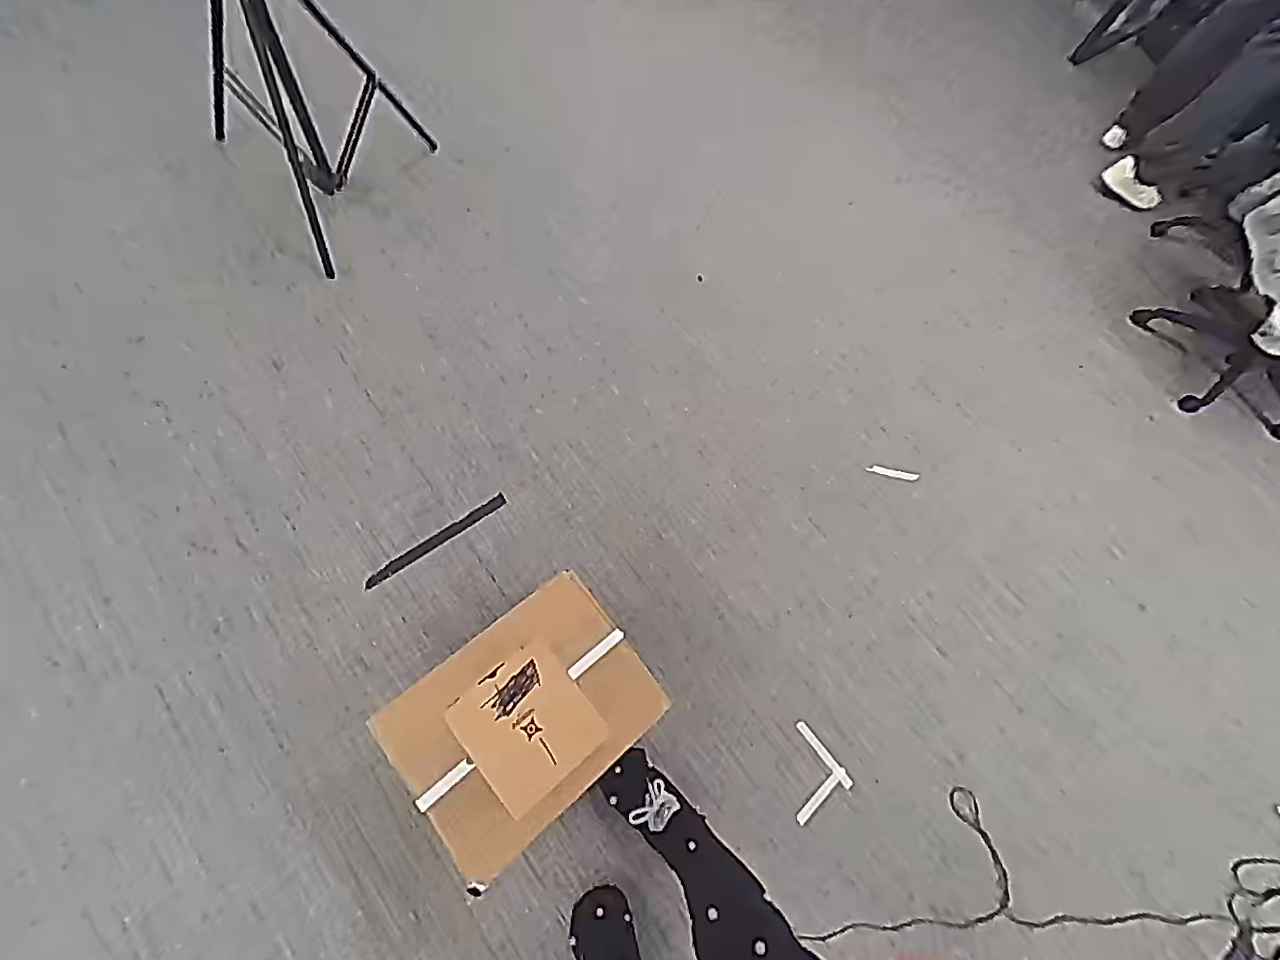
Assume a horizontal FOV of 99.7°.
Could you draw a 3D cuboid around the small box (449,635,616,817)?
[{"bbox_3d":[-0.162,0.364,0.821,0.168,0.176,0.179,-37,80,-21],"label":"small box"}]
